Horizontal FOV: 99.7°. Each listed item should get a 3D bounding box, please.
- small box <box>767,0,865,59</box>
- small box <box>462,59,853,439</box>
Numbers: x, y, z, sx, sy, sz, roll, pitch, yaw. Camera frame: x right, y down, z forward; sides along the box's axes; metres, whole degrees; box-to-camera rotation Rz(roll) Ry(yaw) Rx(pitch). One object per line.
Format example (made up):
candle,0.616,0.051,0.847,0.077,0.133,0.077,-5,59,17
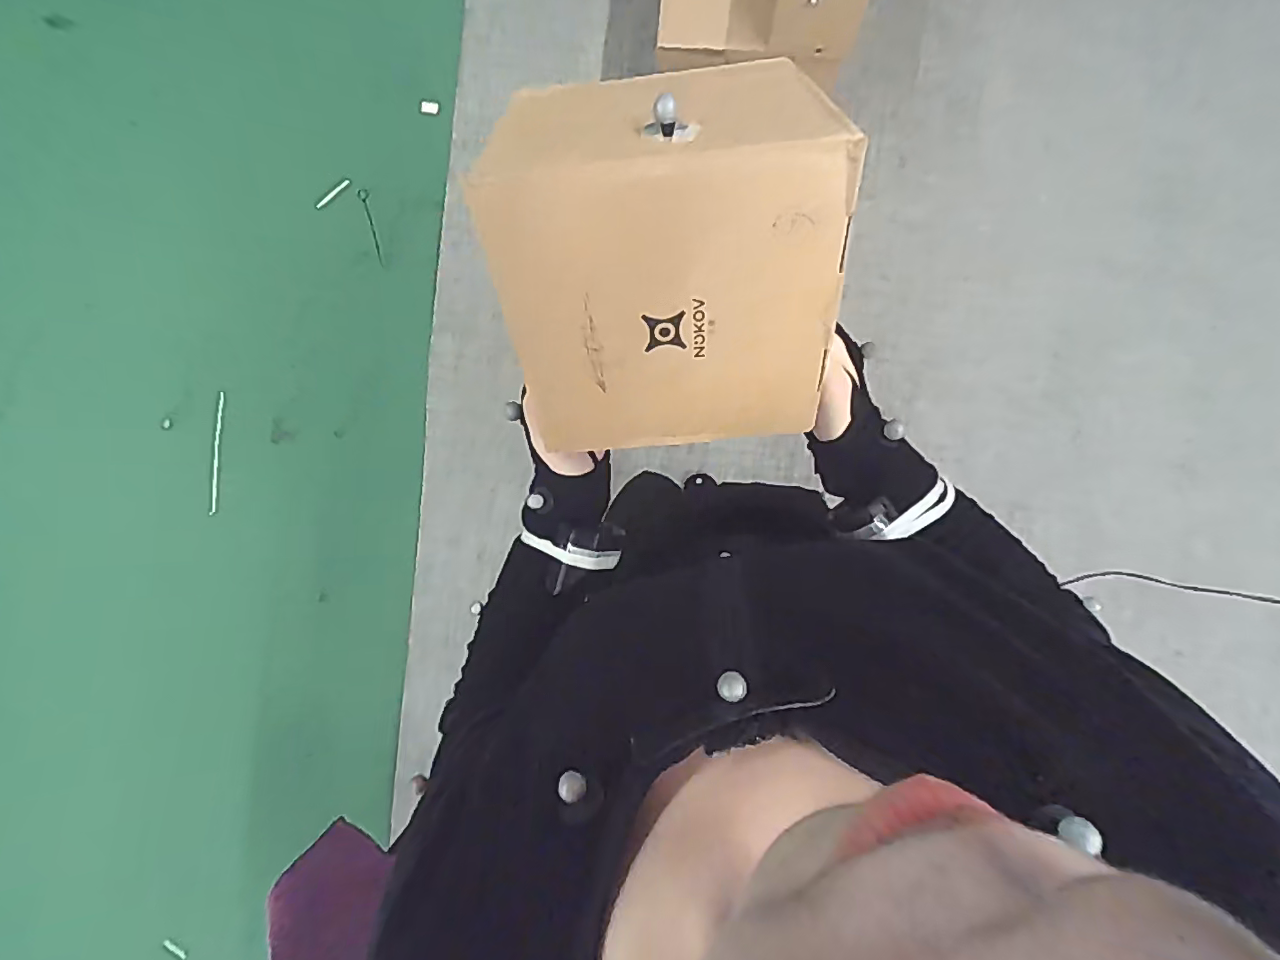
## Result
small box,0.351,-0.975,1.049,0.168,0.176,0.179,10,91,5
small box,0.010,-0.147,0.346,0.179,0.176,0.168,-4,137,3
